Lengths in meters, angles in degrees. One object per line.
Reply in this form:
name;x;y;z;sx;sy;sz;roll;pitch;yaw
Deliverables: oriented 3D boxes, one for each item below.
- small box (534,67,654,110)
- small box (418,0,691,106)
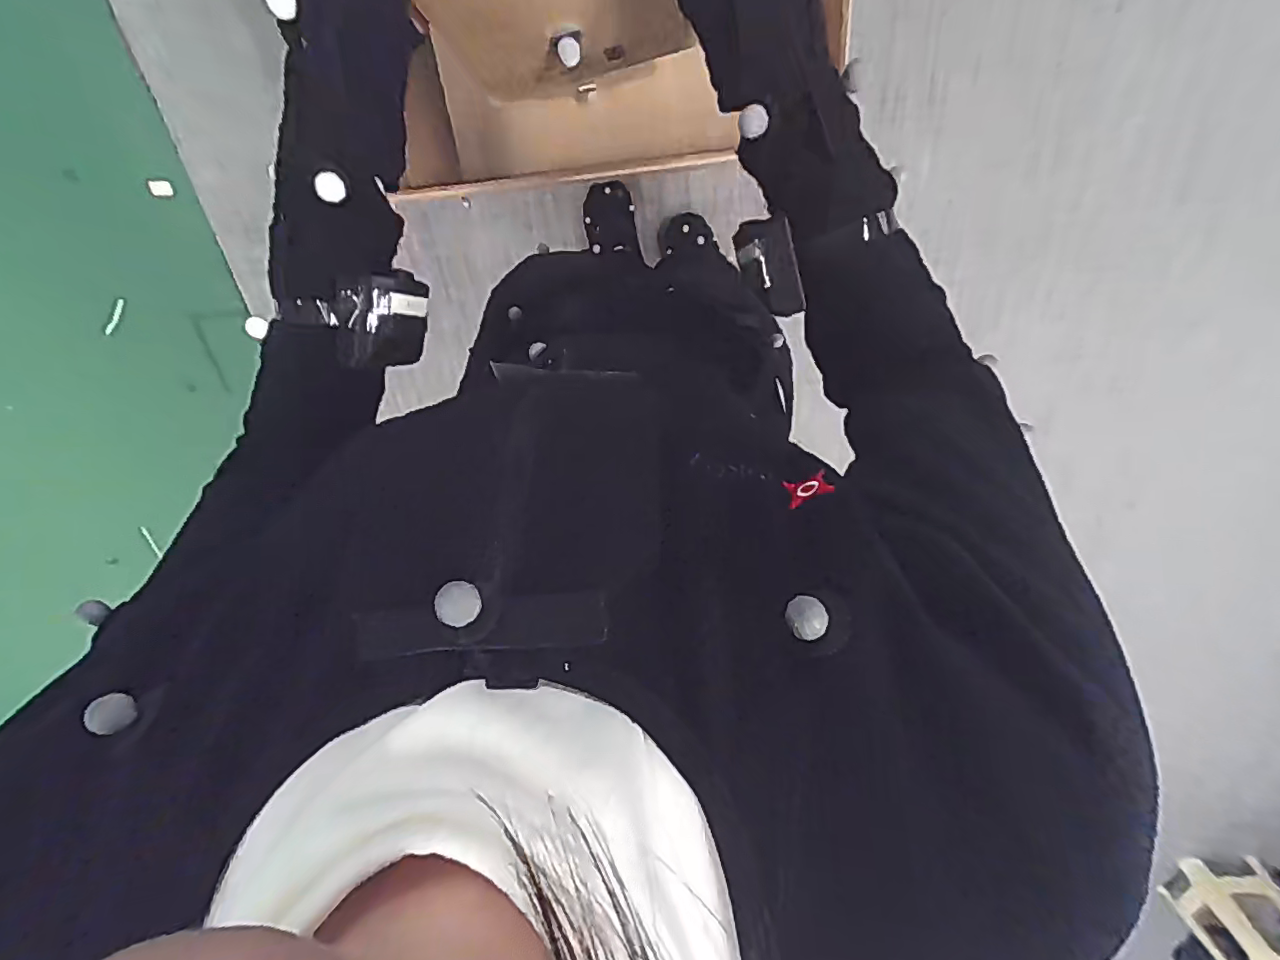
small box;-0.078;-0.575;0.657;0.168;0.176;0.179;-9;120;7
small box;-0.067;-0.373;0.320;0.168;0.176;0.179;-8;97;11
